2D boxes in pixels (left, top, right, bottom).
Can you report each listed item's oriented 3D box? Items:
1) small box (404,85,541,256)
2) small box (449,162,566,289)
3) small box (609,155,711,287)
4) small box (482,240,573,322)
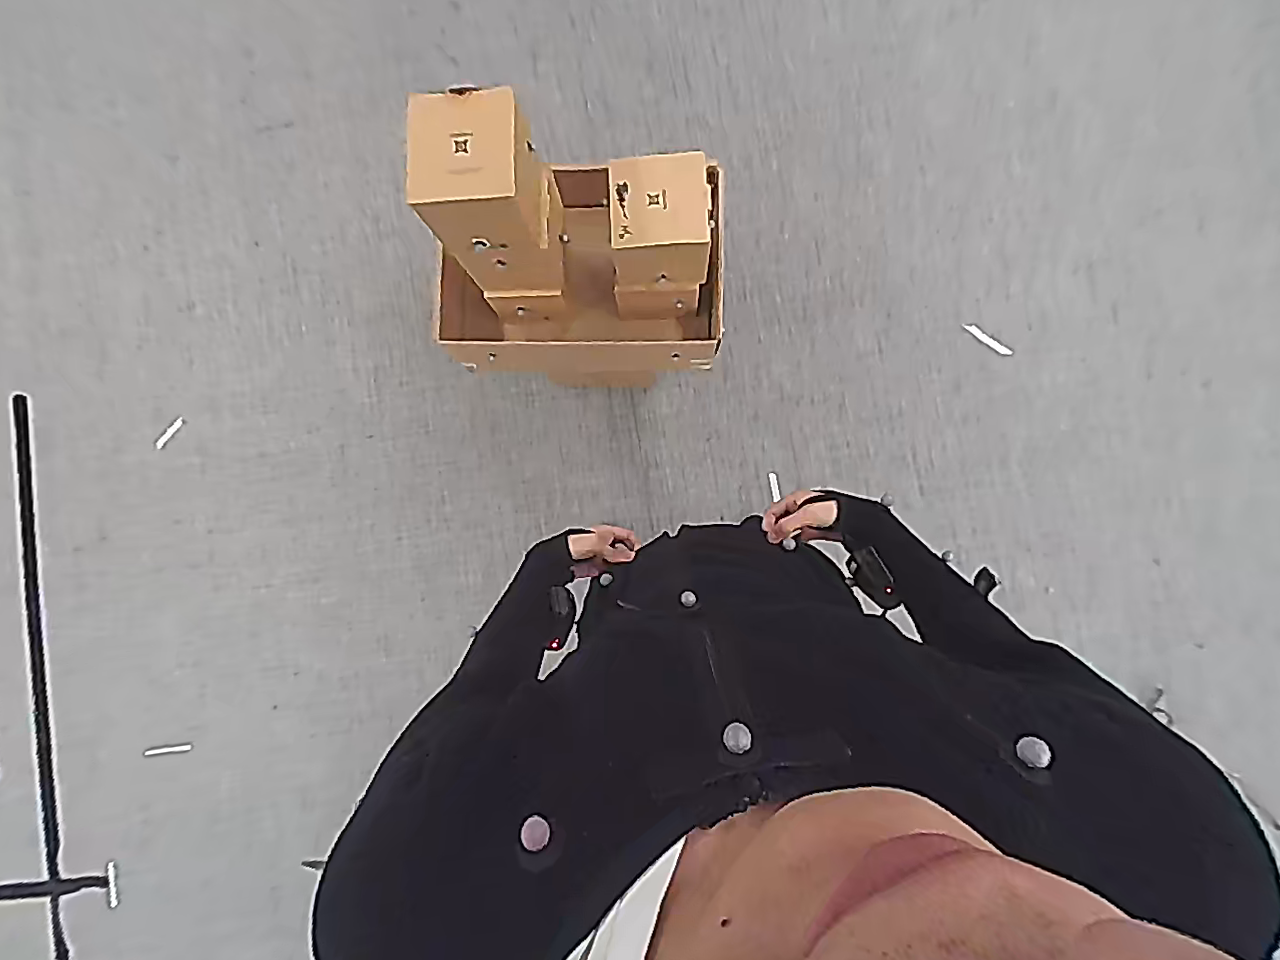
[{"bbox_3d":[-0.261,-0.489,0.874,0.168,0.176,0.179,-2,85,4],"label":"small box"},{"bbox_3d":[-0.247,-0.478,1.038,0.179,0.176,0.168,1,86,2],"label":"small box"},{"bbox_3d":[0.036,-0.477,1.016,0.179,0.176,0.168,-2,86,3],"label":"small box"},{"bbox_3d":[-0.243,-0.459,1.201,0.168,0.176,0.179,-1,86,2],"label":"small box"}]
